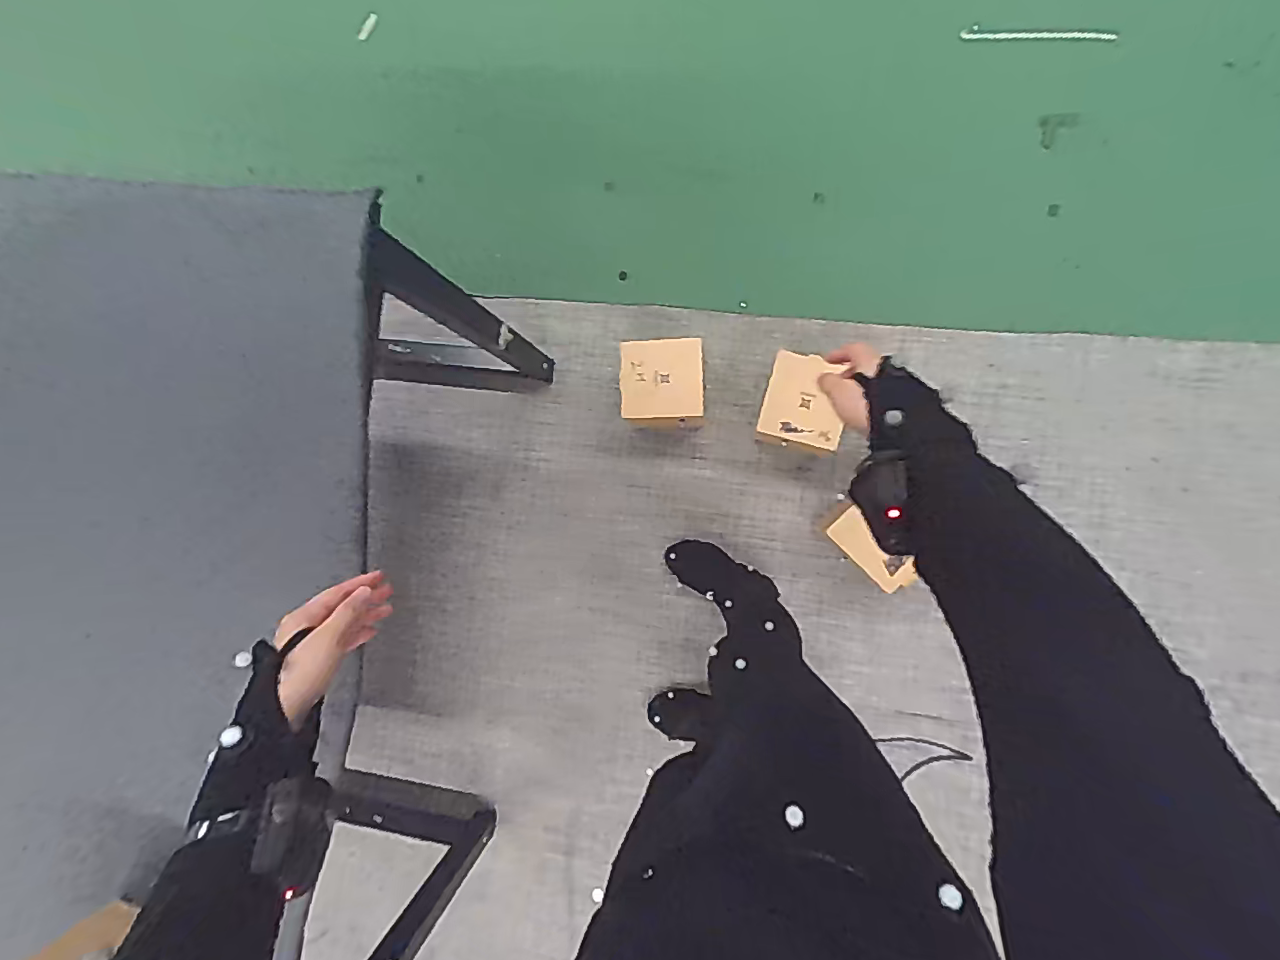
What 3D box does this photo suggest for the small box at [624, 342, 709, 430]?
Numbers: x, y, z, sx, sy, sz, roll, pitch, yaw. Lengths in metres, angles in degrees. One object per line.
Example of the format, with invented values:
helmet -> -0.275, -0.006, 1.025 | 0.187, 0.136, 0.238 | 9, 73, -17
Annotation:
small box -> 0.064, -0.204, 1.207 | 0.179, 0.176, 0.168 | -1, 88, 8

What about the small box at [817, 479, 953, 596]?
small box -> 0.502, 0.112, 1.138 | 0.168, 0.176, 0.179 | -45, 83, 5

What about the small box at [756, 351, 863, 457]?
small box -> 0.353, -0.156, 1.164 | 0.168, 0.176, 0.179 | 16, 91, 7
